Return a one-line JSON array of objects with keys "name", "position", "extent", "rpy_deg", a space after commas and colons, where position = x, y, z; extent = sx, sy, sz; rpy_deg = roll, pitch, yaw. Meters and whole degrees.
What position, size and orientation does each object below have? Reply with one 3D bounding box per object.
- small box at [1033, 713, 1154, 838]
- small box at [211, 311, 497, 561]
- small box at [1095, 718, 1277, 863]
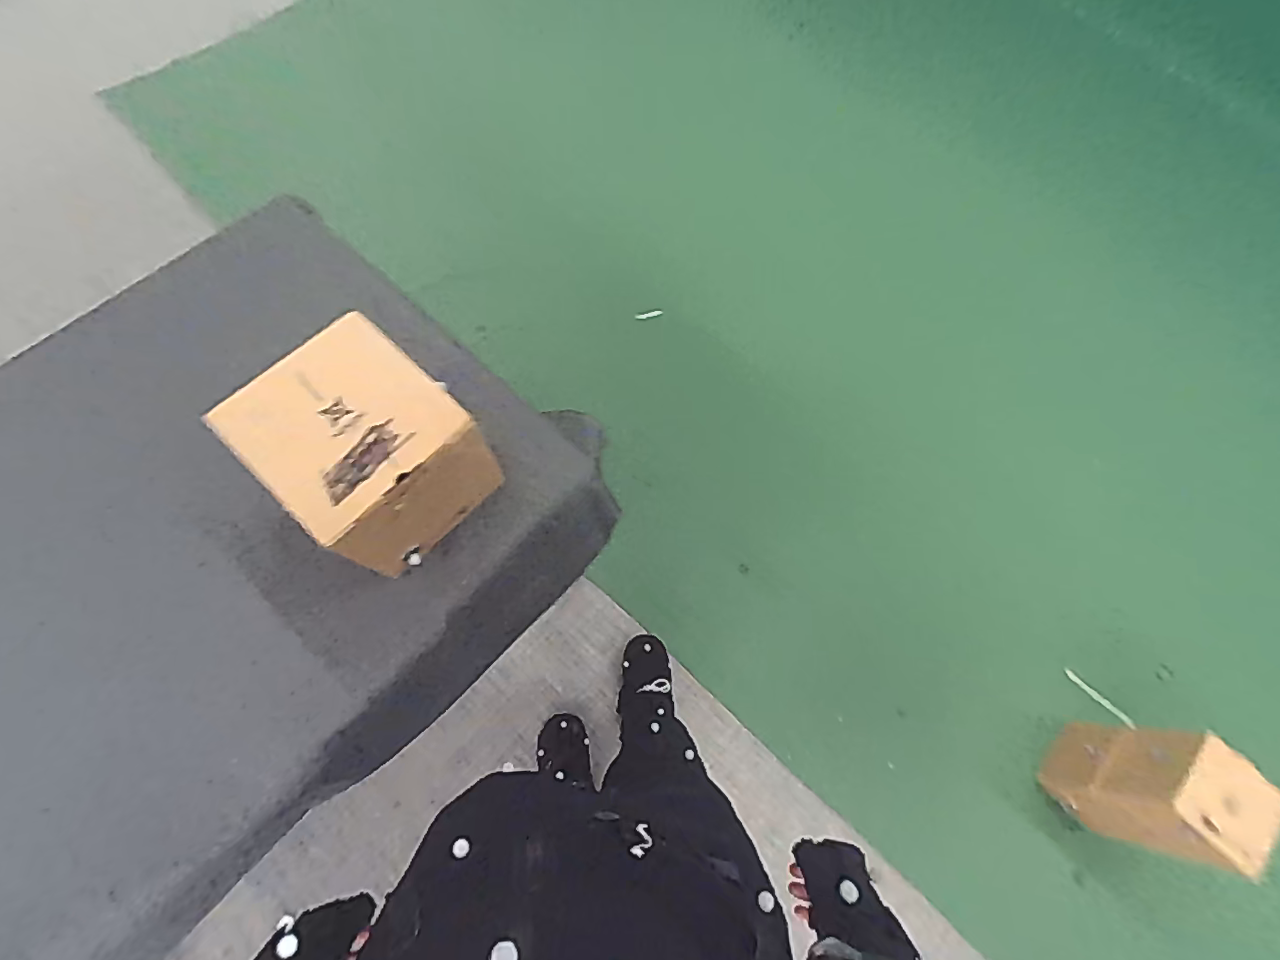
[{"name": "small box", "position": [1.048, 0.654, 1.225], "extent": [0.168, 0.176, 0.179], "rpy_deg": [43, 74, 11]}, {"name": "small box", "position": [-0.277, -0.032, 0.571], "extent": [0.179, 0.176, 0.168], "rpy_deg": [41, 73, 11]}, {"name": "small box", "position": [1.067, 0.597, 1.072], "extent": [0.168, 0.176, 0.179], "rpy_deg": [44, 72, 11]}]
